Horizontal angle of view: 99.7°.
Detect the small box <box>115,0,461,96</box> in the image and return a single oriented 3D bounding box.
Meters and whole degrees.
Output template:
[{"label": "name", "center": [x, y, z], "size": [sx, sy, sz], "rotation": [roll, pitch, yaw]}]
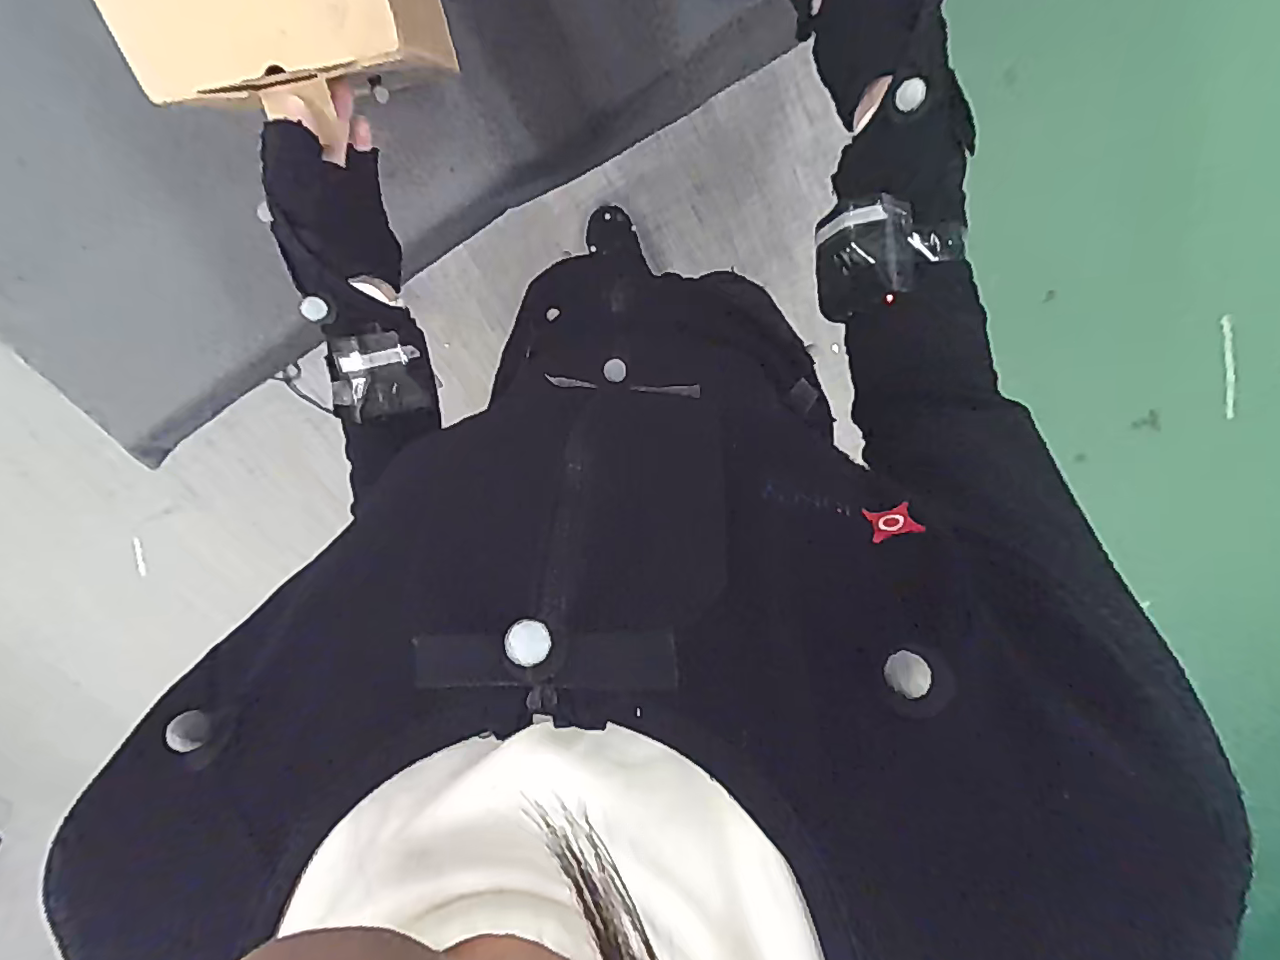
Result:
[{"label": "small box", "center": [-0.235, -0.369, 0.356], "size": [0.168, 0.176, 0.179], "rotation": [-10, 123, 1]}]
